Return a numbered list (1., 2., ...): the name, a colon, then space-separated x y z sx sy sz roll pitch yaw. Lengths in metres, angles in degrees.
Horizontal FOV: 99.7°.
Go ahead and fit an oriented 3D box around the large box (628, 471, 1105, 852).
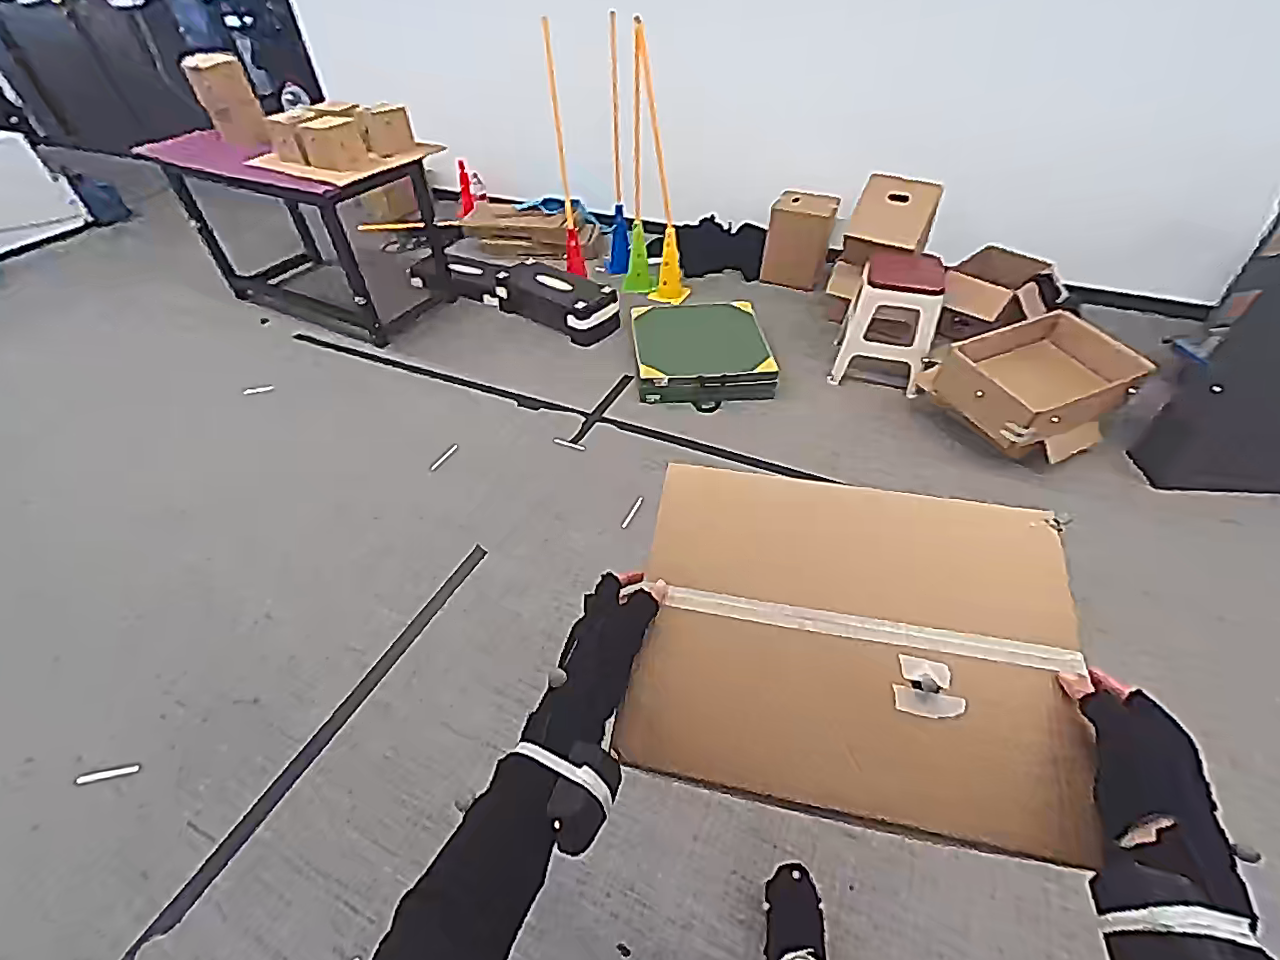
1. large box: 0.217 0.217 0.661 0.408 0.320 0.320 8 62 9
